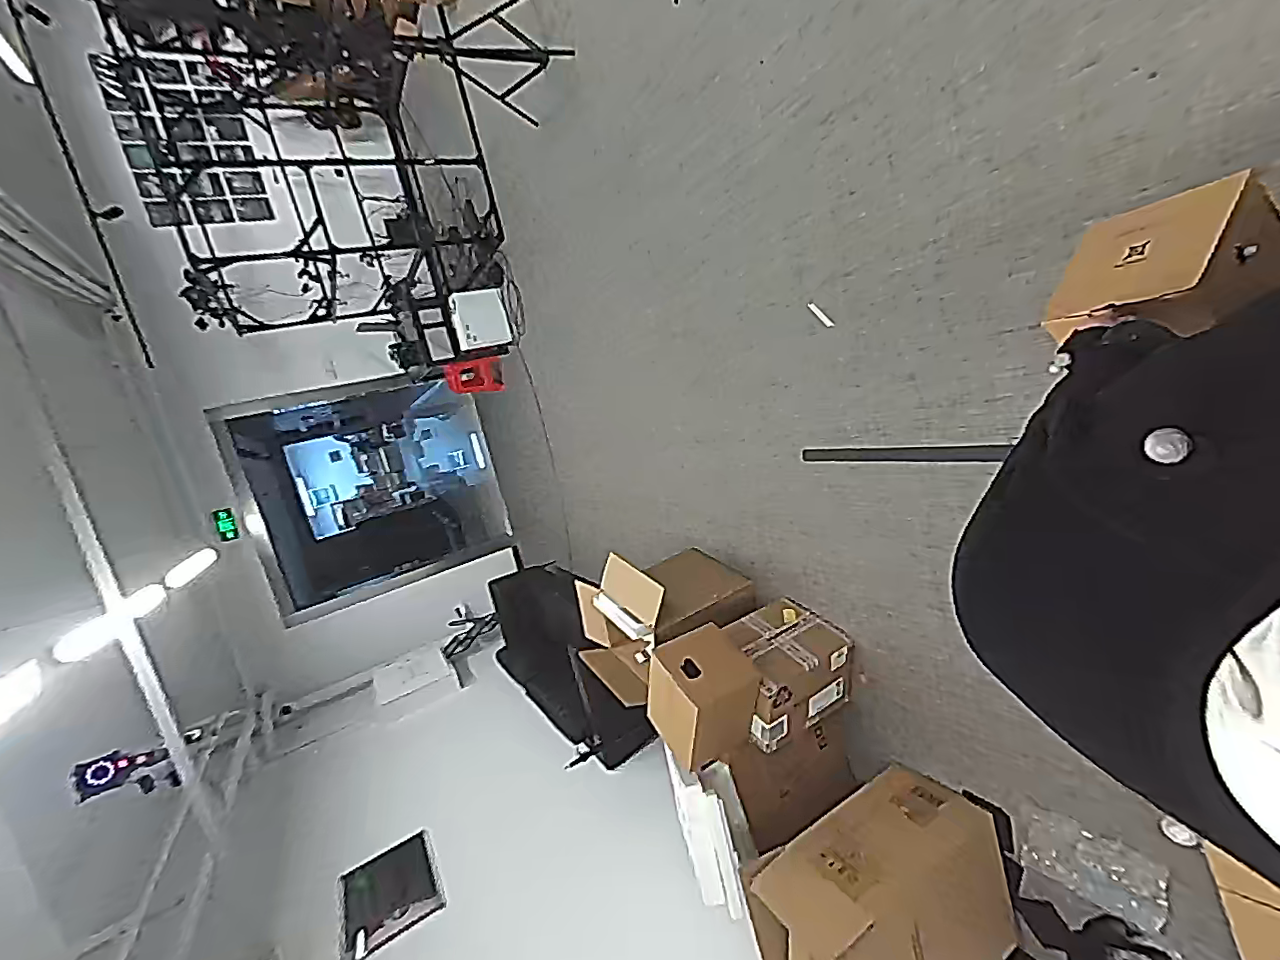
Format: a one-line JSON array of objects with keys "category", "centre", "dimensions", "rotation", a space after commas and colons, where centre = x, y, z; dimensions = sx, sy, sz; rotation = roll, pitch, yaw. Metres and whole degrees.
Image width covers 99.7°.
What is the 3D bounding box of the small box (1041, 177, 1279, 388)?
[{"category": "small box", "centre": [0.682, -0.234, 0.700], "dimensions": [0.176, 0.179, 0.168], "rotation": [35, 172, -18]}]
